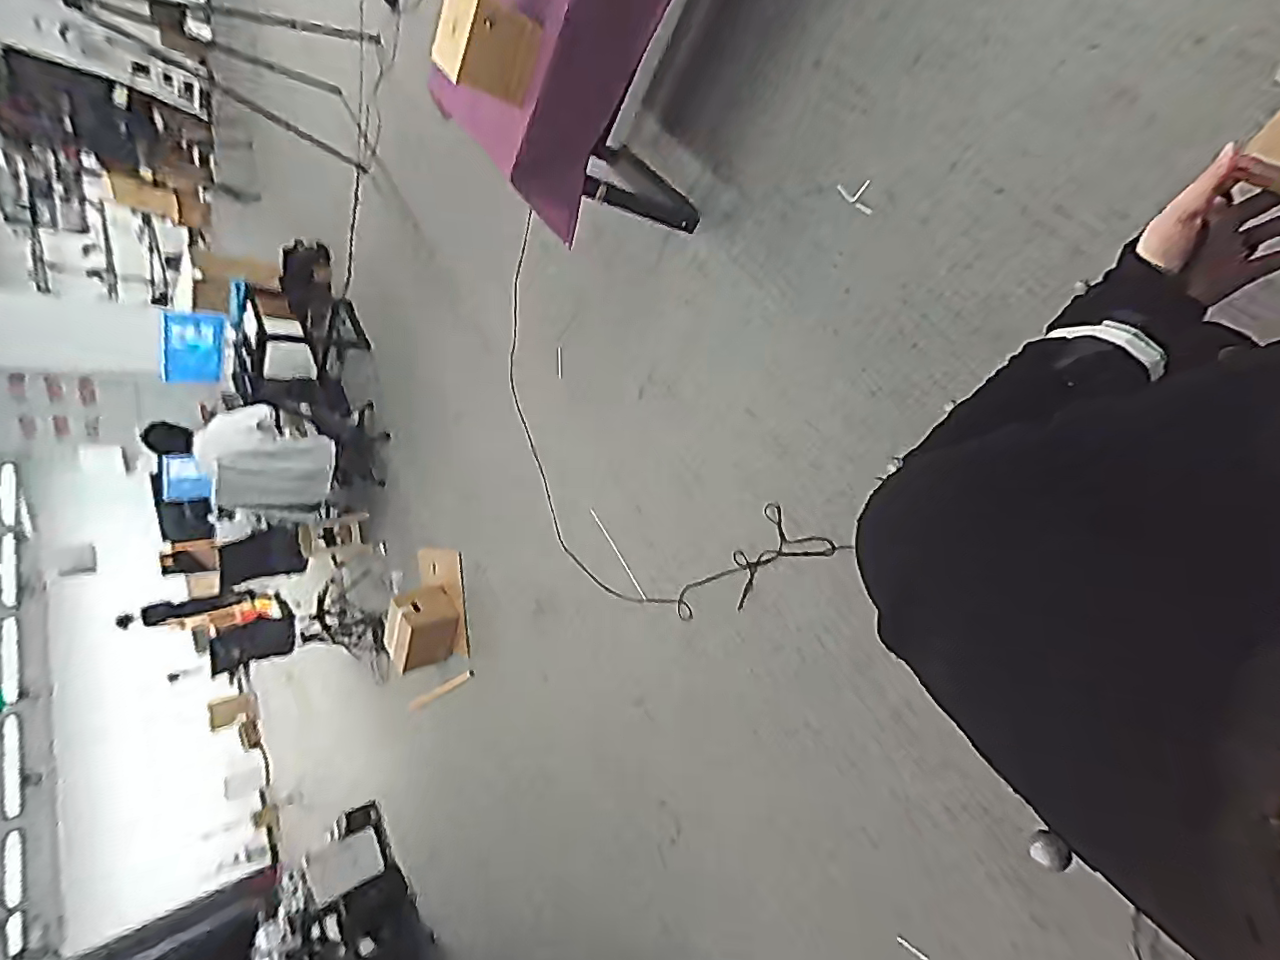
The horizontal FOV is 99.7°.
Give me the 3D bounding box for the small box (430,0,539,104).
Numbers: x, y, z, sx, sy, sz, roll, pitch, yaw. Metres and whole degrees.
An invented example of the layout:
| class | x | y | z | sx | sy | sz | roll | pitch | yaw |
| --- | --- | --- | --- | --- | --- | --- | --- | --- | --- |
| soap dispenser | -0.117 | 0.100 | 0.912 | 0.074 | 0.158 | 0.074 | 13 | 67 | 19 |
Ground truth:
| class | x | y | z | sx | sy | sz | roll | pitch | yaw |
| --- | --- | --- | --- | --- | --- | --- | --- | --- | --- |
| small box | -0.363 | -1.031 | 1.268 | 0.168 | 0.176 | 0.179 | 55 | 127 | 26 |
